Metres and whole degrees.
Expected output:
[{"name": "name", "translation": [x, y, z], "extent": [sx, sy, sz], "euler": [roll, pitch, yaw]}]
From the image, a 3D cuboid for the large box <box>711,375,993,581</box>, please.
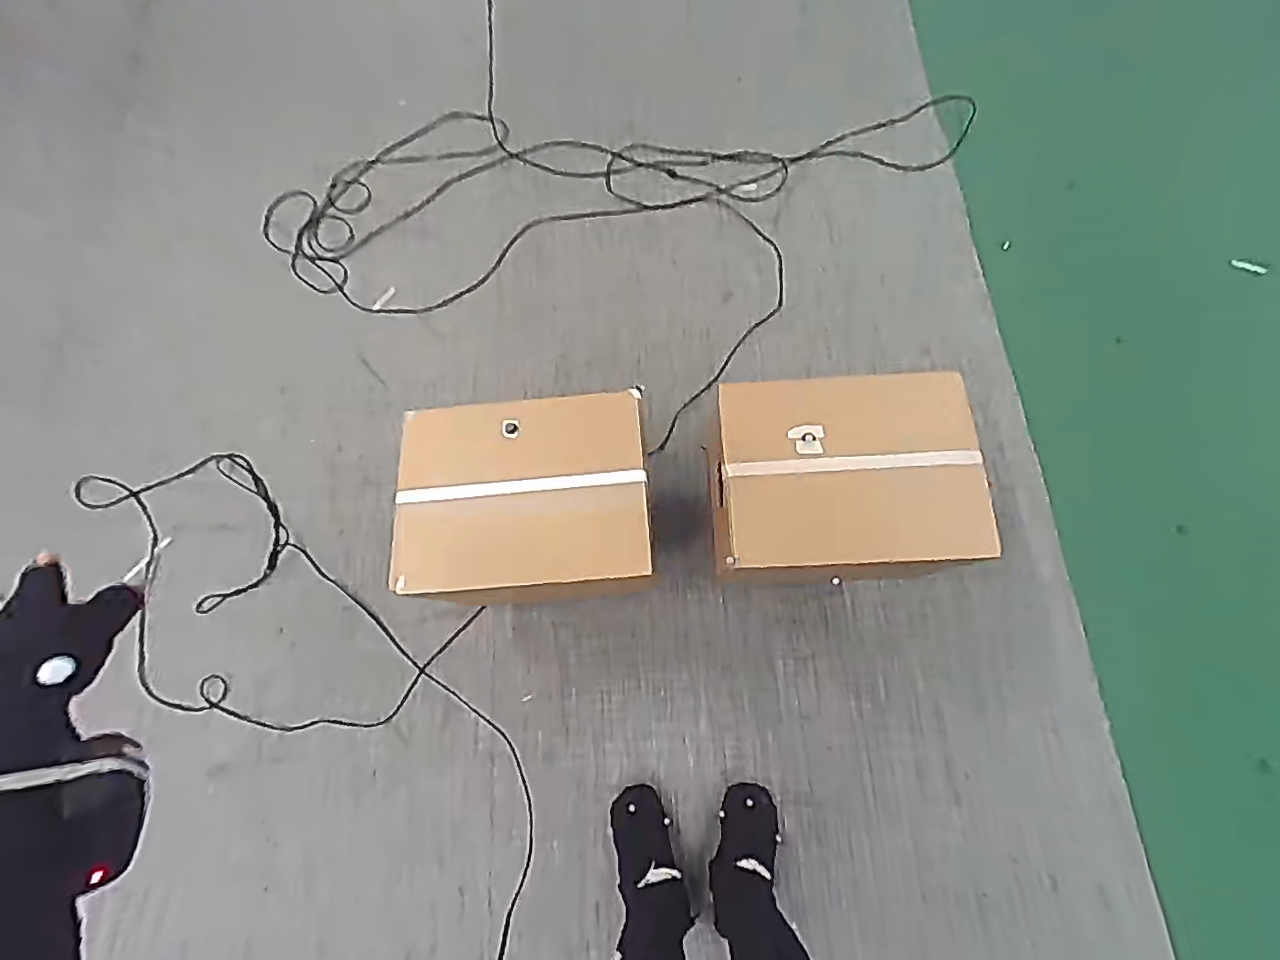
[{"name": "large box", "translation": [0.353, 0.019, 1.023], "extent": [0.408, 0.320, 0.320], "euler": [-3, 74, 3]}]
